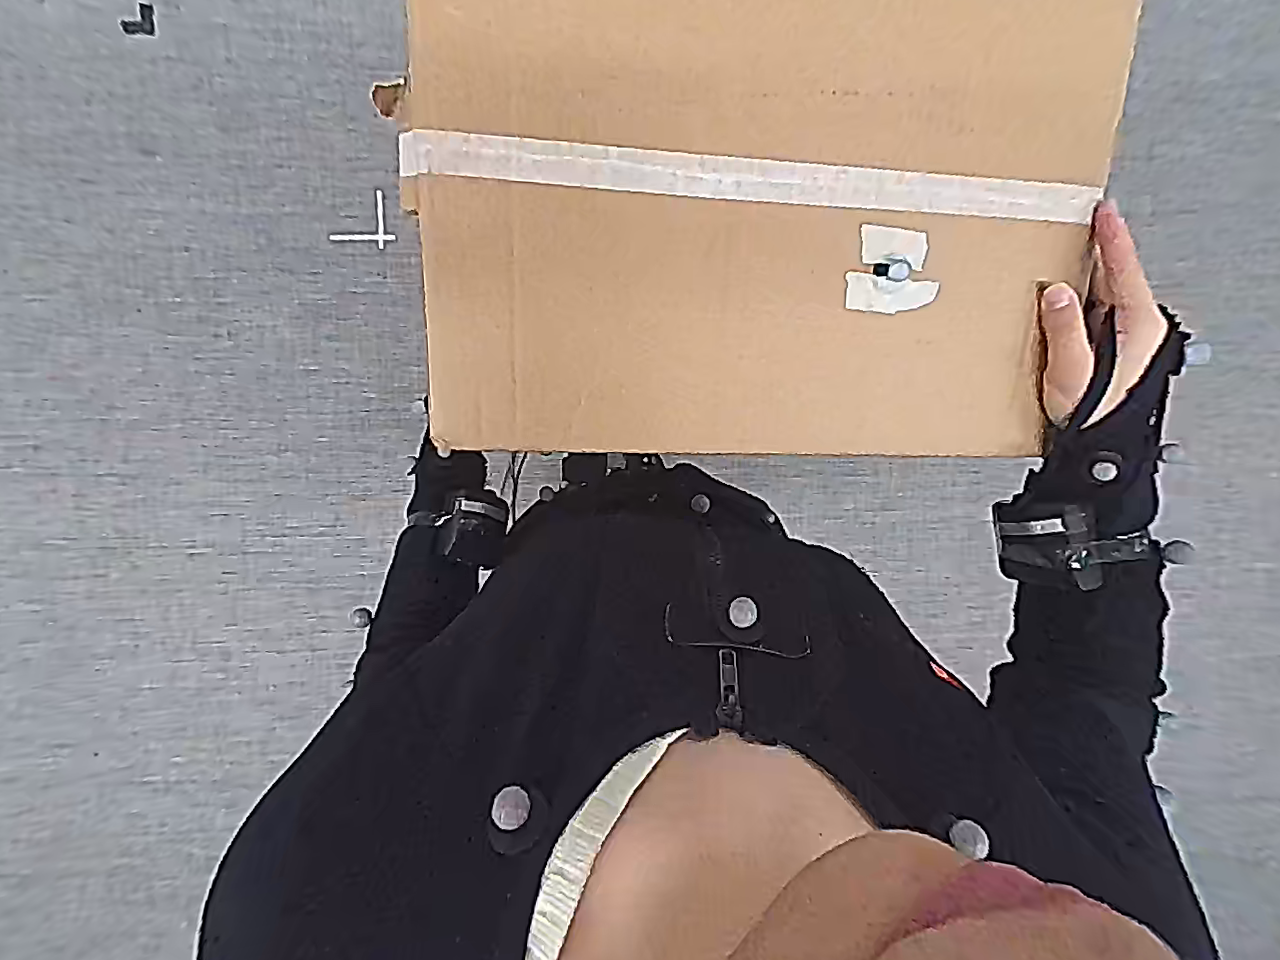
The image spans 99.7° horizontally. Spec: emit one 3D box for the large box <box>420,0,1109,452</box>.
[{"bbox_3d":[0.059,-0.203,0.464,0.408,0.320,0.320,0,103,-9],"label":"large box"}]
